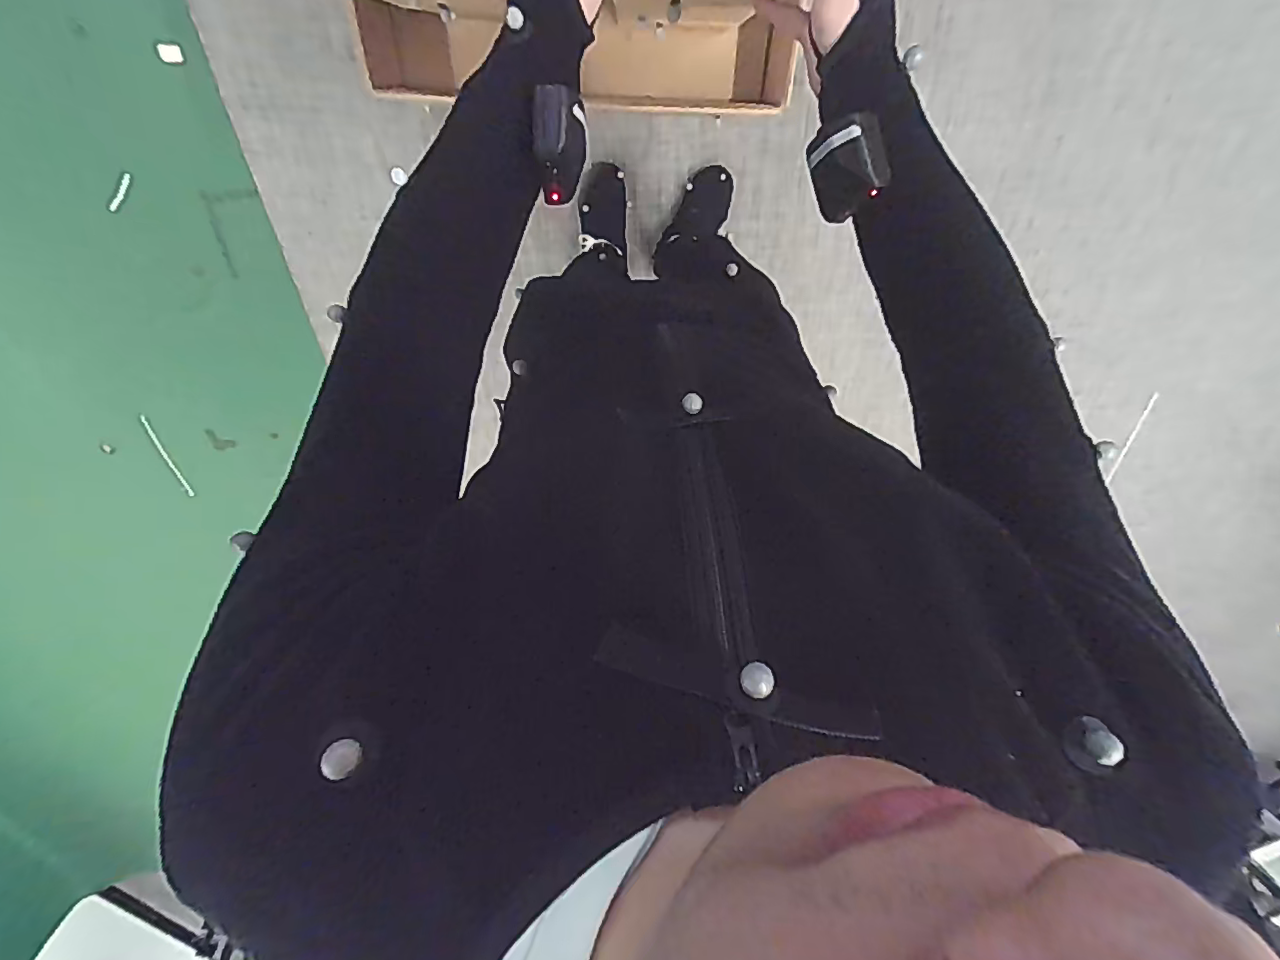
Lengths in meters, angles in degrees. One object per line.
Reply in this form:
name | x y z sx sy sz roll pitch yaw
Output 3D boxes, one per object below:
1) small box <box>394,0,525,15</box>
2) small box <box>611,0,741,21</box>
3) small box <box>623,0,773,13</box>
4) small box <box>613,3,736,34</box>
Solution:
small box | -0.222 -0.630 0.587 0.168 0.176 0.179 2 126 -3
small box | 0.053 -0.627 0.592 0.168 0.176 0.179 2 125 -1
small box | 0.053 -0.528 0.461 0.168 0.176 0.179 3 126 -1
small box | 0.052 -0.720 0.727 0.168 0.176 0.179 2 125 -1
